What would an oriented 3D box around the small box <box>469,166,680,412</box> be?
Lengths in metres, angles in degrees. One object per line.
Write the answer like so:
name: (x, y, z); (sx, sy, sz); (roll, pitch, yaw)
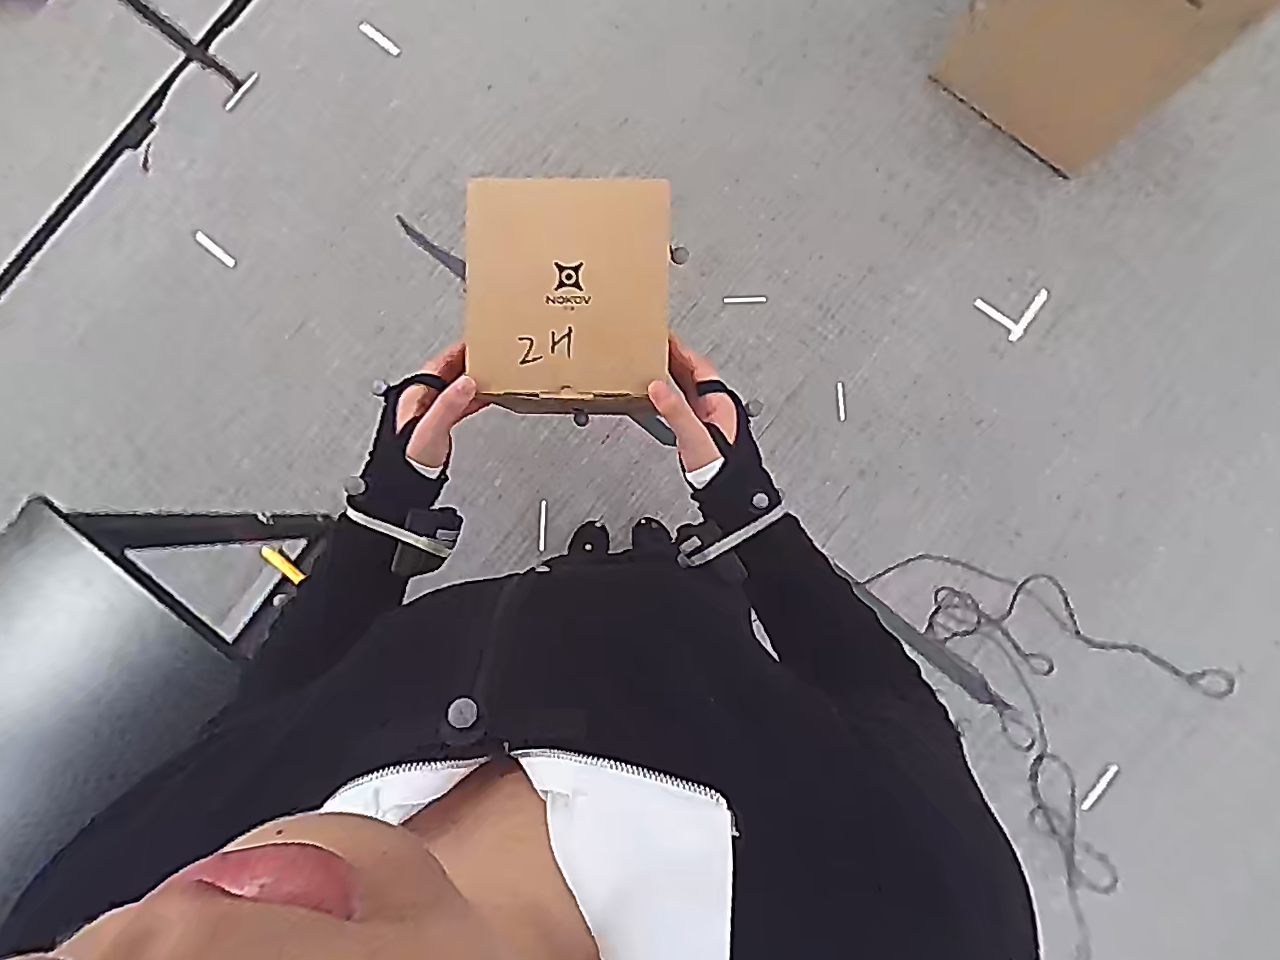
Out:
small box: (-0.052, -0.165, 0.517); (0.168, 0.176, 0.179); (2, 91, 2)
